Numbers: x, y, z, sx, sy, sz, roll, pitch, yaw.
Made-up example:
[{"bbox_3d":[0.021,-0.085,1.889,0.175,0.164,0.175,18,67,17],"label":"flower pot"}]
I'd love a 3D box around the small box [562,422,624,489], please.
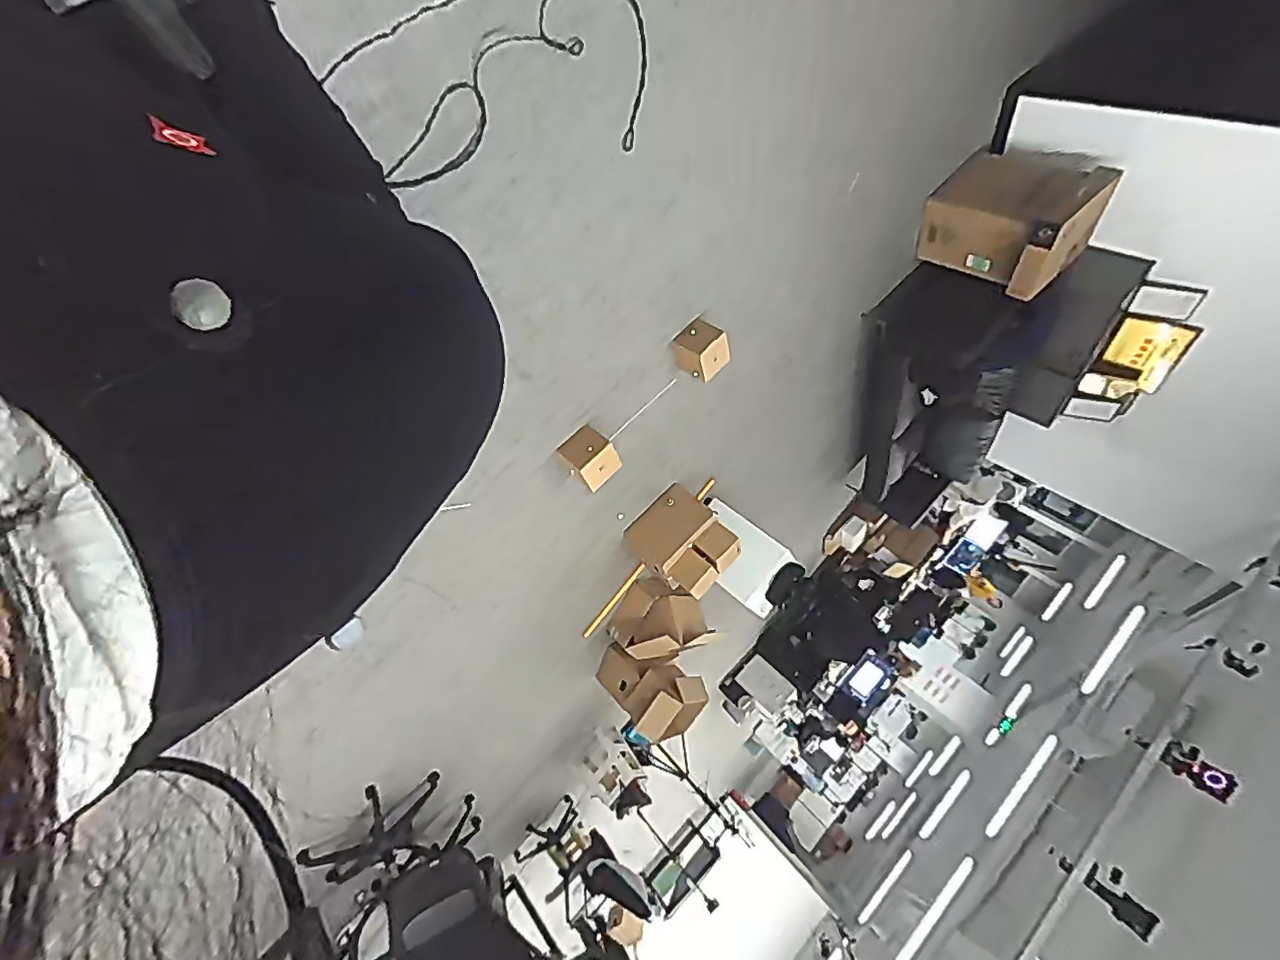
[{"bbox_3d":[-0.202,-0.104,2.236,0.179,0.176,0.168,-44,146,-12],"label":"small box"}]

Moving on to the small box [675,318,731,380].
[{"bbox_3d":[0.277,-0.577,2.367,0.168,0.176,0.179,-44,147,-12],"label":"small box"}]
